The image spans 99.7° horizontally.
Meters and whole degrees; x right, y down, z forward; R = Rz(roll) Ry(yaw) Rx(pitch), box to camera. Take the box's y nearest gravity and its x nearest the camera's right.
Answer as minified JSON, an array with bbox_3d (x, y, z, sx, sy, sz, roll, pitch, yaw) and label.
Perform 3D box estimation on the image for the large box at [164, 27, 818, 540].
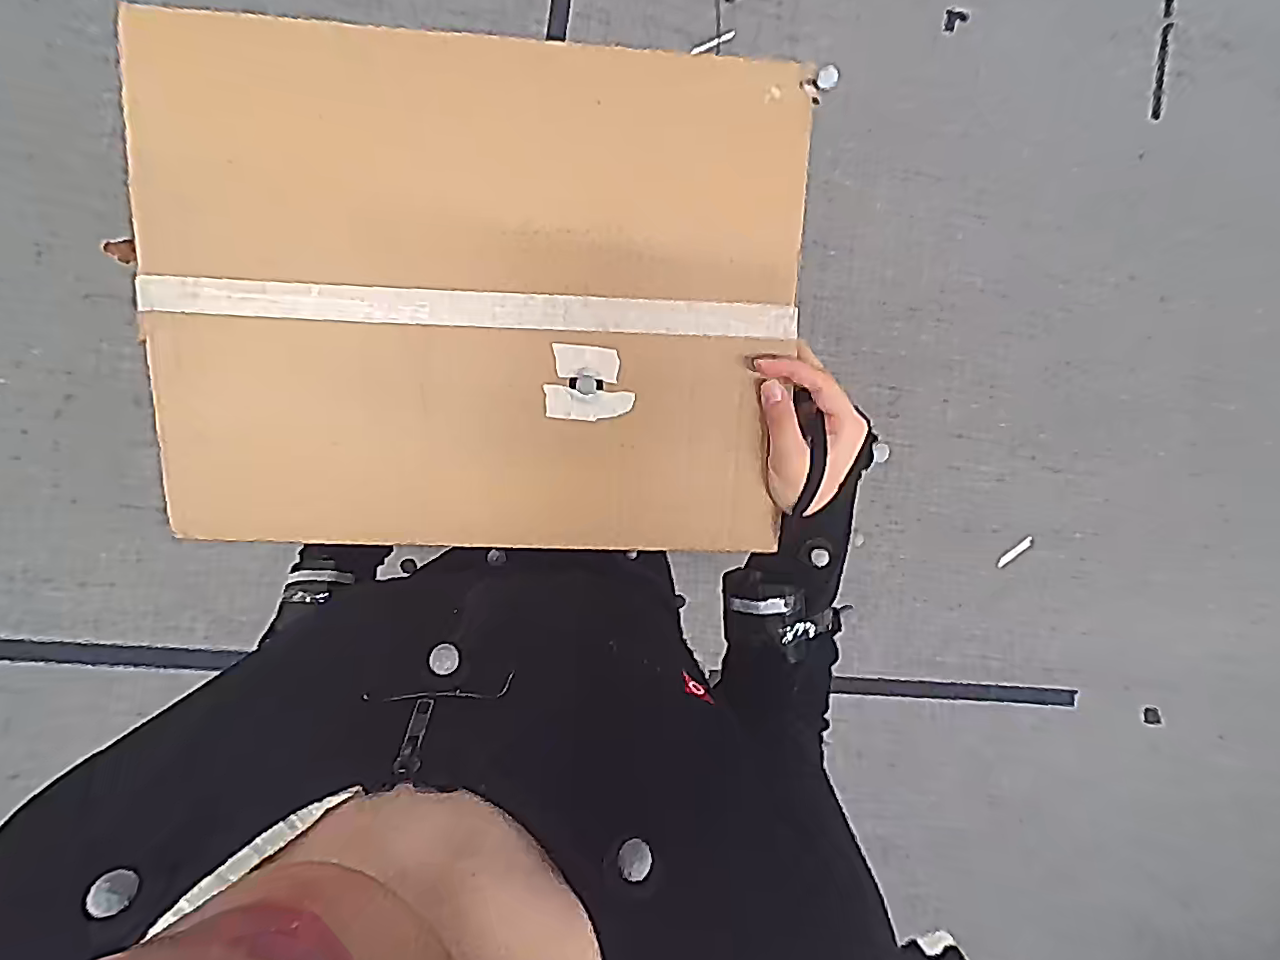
[{"bbox_3d":[-0.101,-0.133,0.500,0.408,0.320,0.320,2,100,-5],"label":"large box"}]
